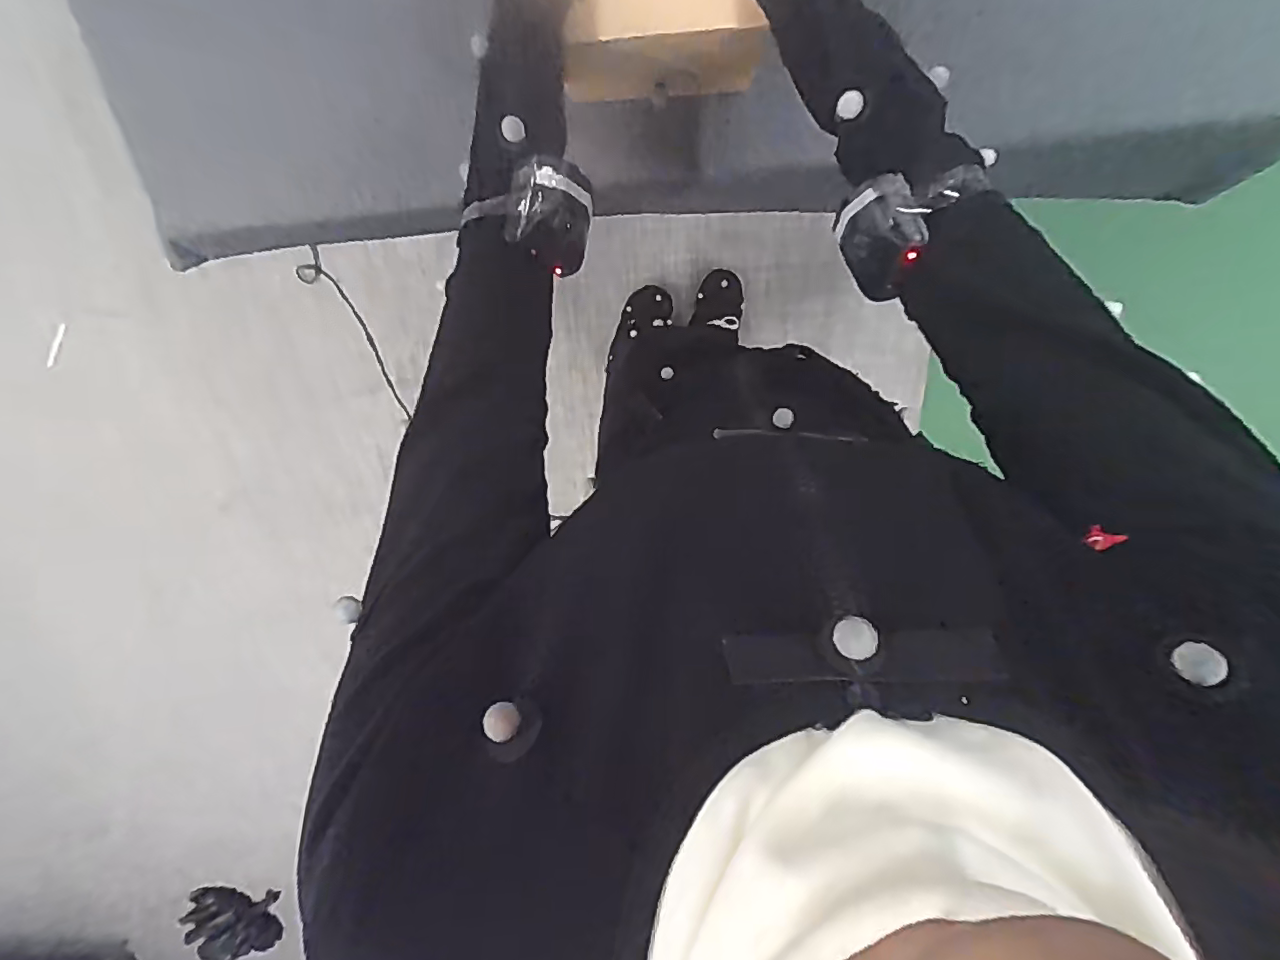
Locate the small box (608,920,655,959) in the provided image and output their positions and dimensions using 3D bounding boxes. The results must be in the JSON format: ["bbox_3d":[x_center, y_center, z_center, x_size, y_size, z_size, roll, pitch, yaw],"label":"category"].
[{"bbox_3d":[-0.029,1.788,2.016,0.168,0.176,0.179,-3,112,2],"label":"small box"}]

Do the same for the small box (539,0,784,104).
[{"bbox_3d":[0.014,-0.423,0.433,0.179,0.176,0.168,-2,112,3],"label":"small box"}]

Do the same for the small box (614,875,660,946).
[{"bbox_3d":[-0.010,1.719,2.162,0.179,0.176,0.168,0,113,3],"label":"small box"}]
